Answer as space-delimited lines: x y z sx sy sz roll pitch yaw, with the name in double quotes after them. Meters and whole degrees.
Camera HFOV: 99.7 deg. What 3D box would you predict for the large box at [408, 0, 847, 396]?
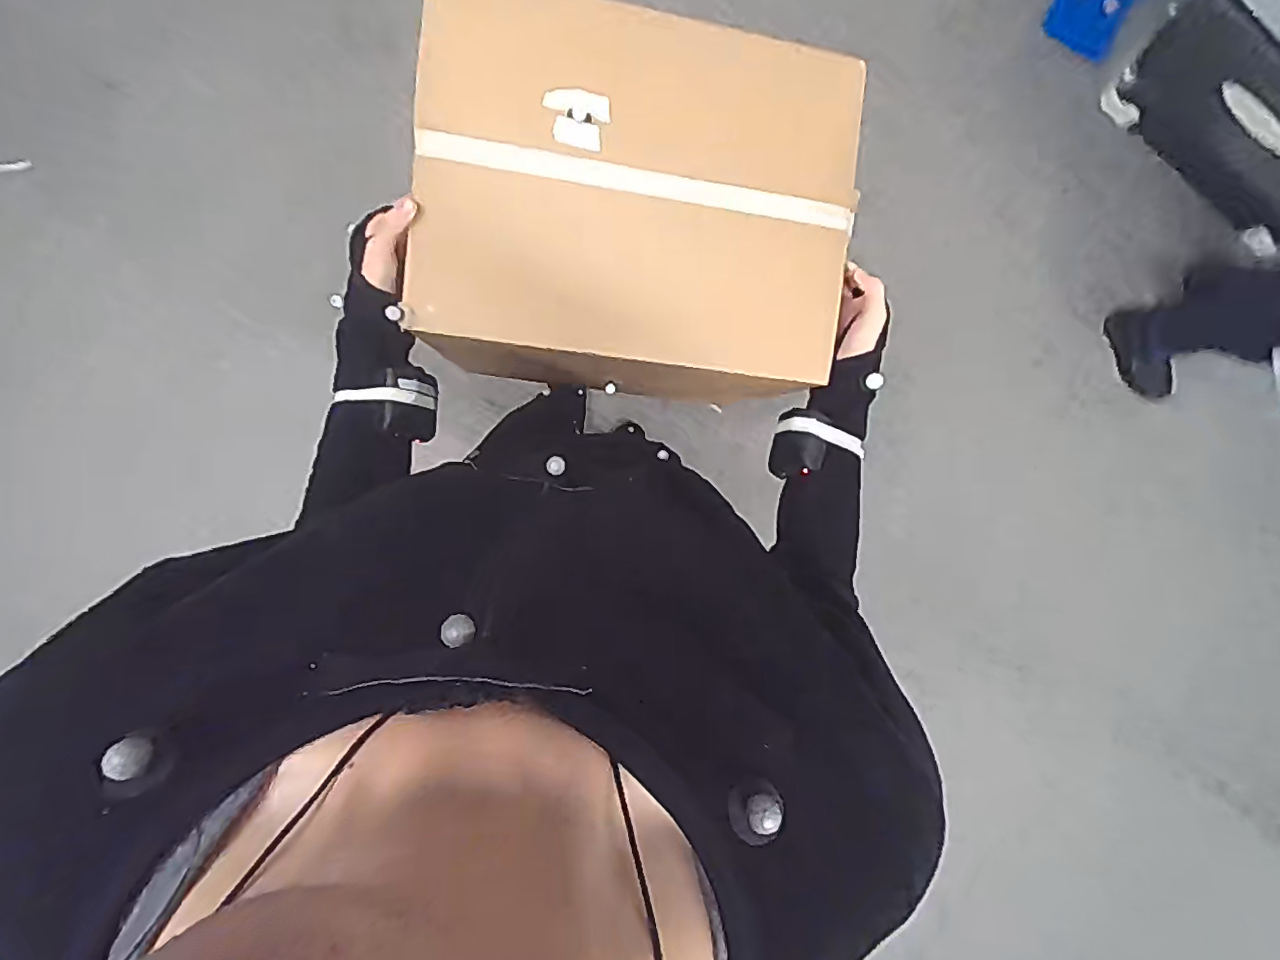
-0.023 -0.280 0.657 0.408 0.320 0.320 5 93 -8 "large box"
